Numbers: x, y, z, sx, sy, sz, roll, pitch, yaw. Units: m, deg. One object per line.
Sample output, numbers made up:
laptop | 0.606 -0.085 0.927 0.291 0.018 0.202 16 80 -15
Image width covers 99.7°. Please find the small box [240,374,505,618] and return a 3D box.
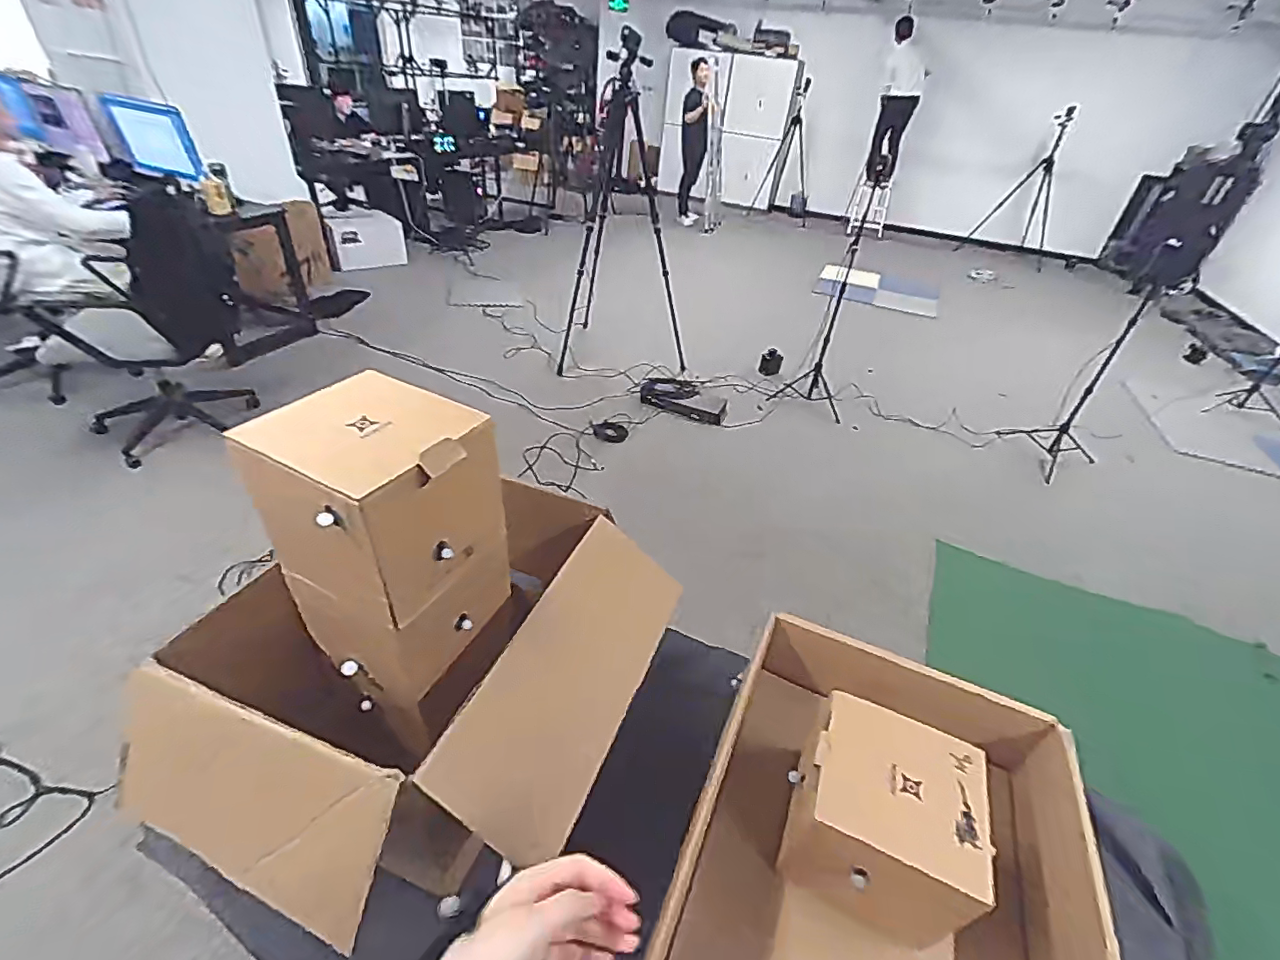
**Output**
small box | -0.263 0.014 0.571 0.179 0.176 0.168 22 40 18

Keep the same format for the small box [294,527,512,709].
small box | -0.276 0.140 0.671 0.168 0.176 0.179 21 41 17
